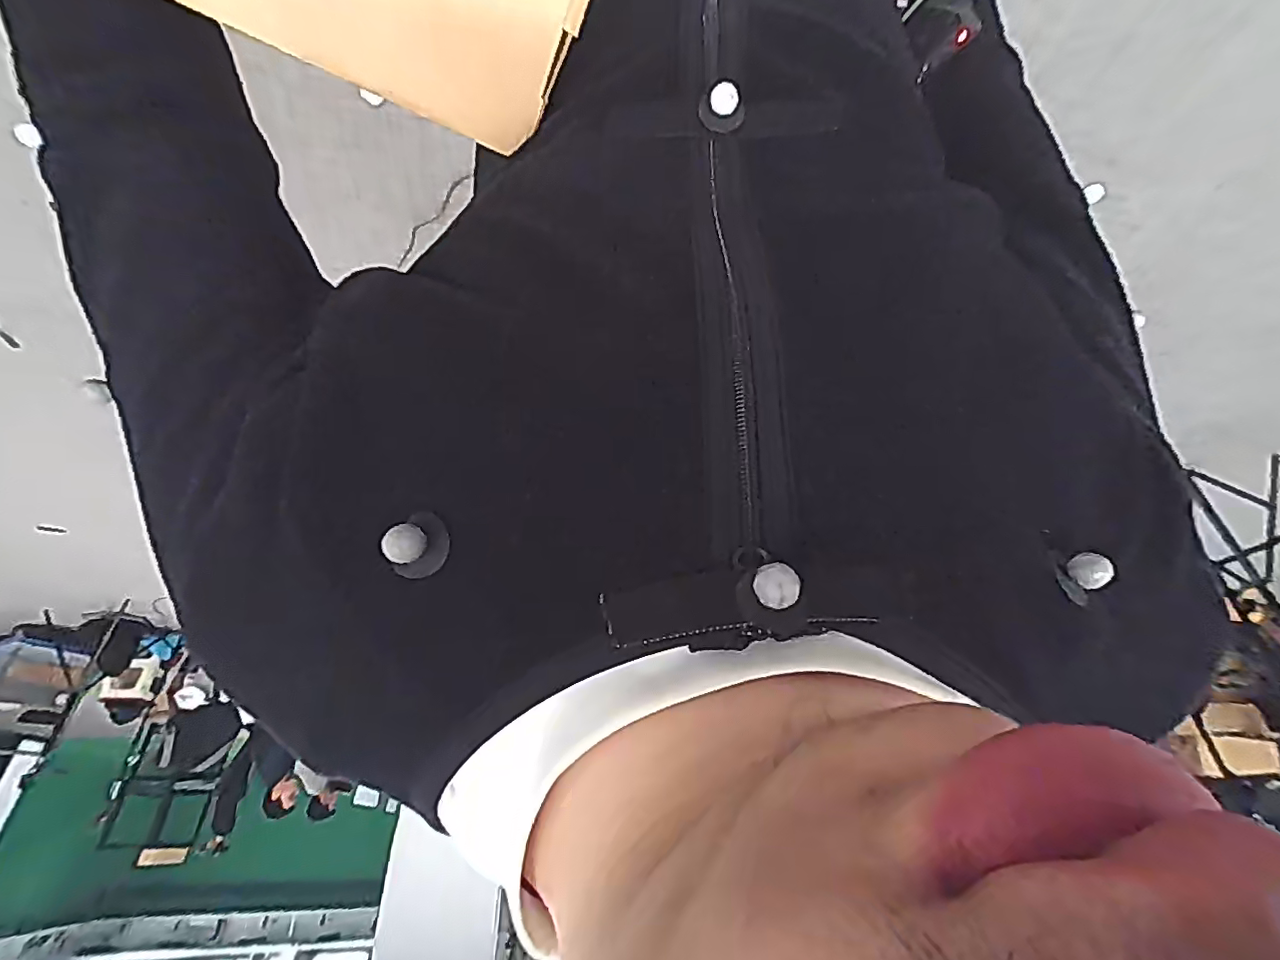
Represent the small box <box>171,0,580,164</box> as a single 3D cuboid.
[{"bbox_3d":[-0.124,-0.297,0.277,0.179,0.176,0.168,12,121,-27],"label":"small box"}]
